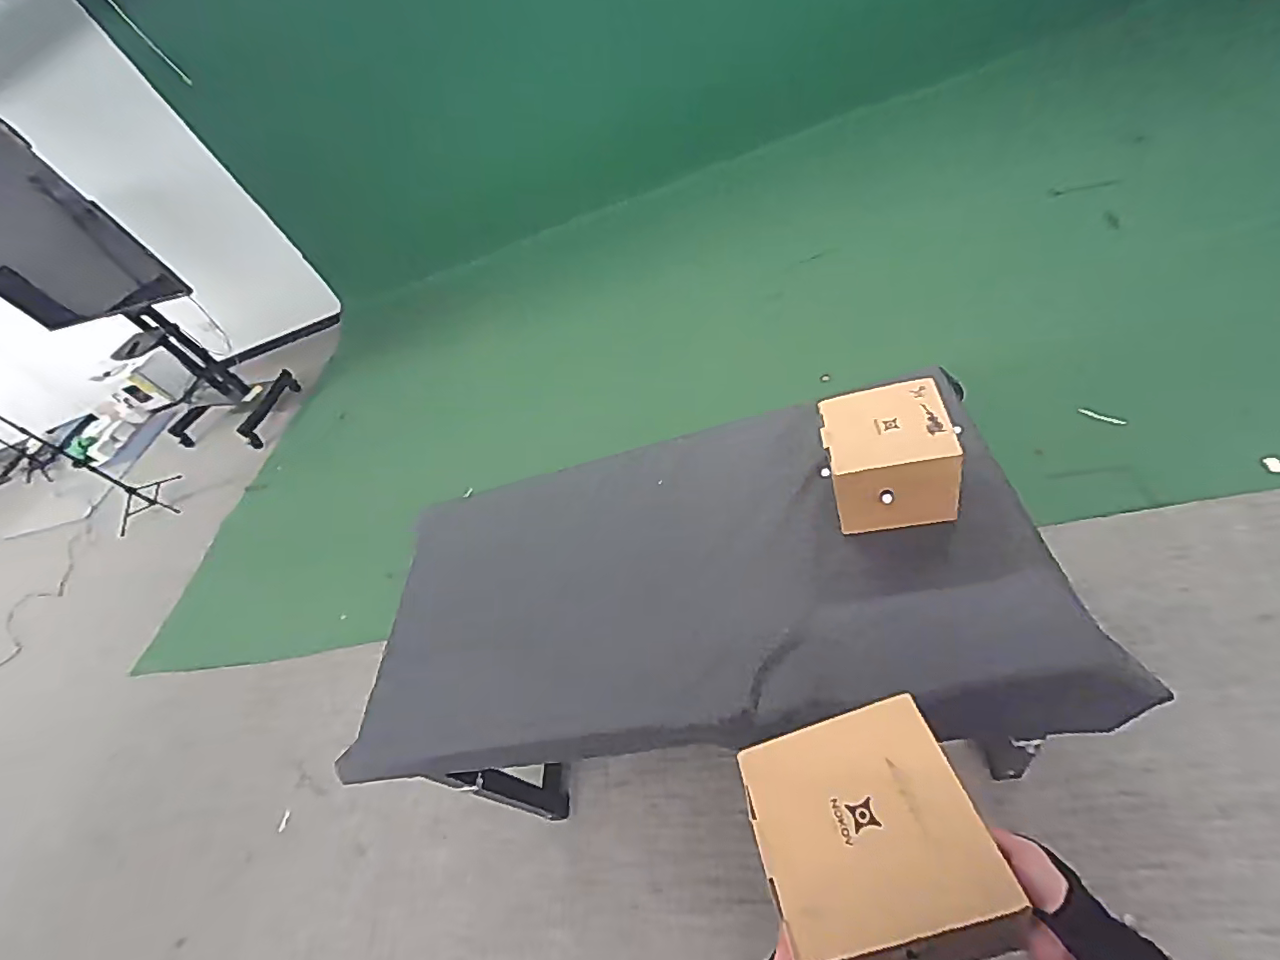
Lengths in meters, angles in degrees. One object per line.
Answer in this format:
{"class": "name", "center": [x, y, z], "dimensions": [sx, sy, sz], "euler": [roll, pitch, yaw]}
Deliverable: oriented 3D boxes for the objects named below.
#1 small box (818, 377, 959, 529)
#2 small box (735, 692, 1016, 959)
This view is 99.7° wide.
{"class": "small box", "center": [0.403, -0.036, 0.885], "dimensions": [0.179, 0.176, 0.168], "euler": [-11, 50, 20]}
{"class": "small box", "center": [0.213, 0.335, 0.504], "dimensions": [0.179, 0.176, 0.168], "euler": [-24, 38, 8]}
